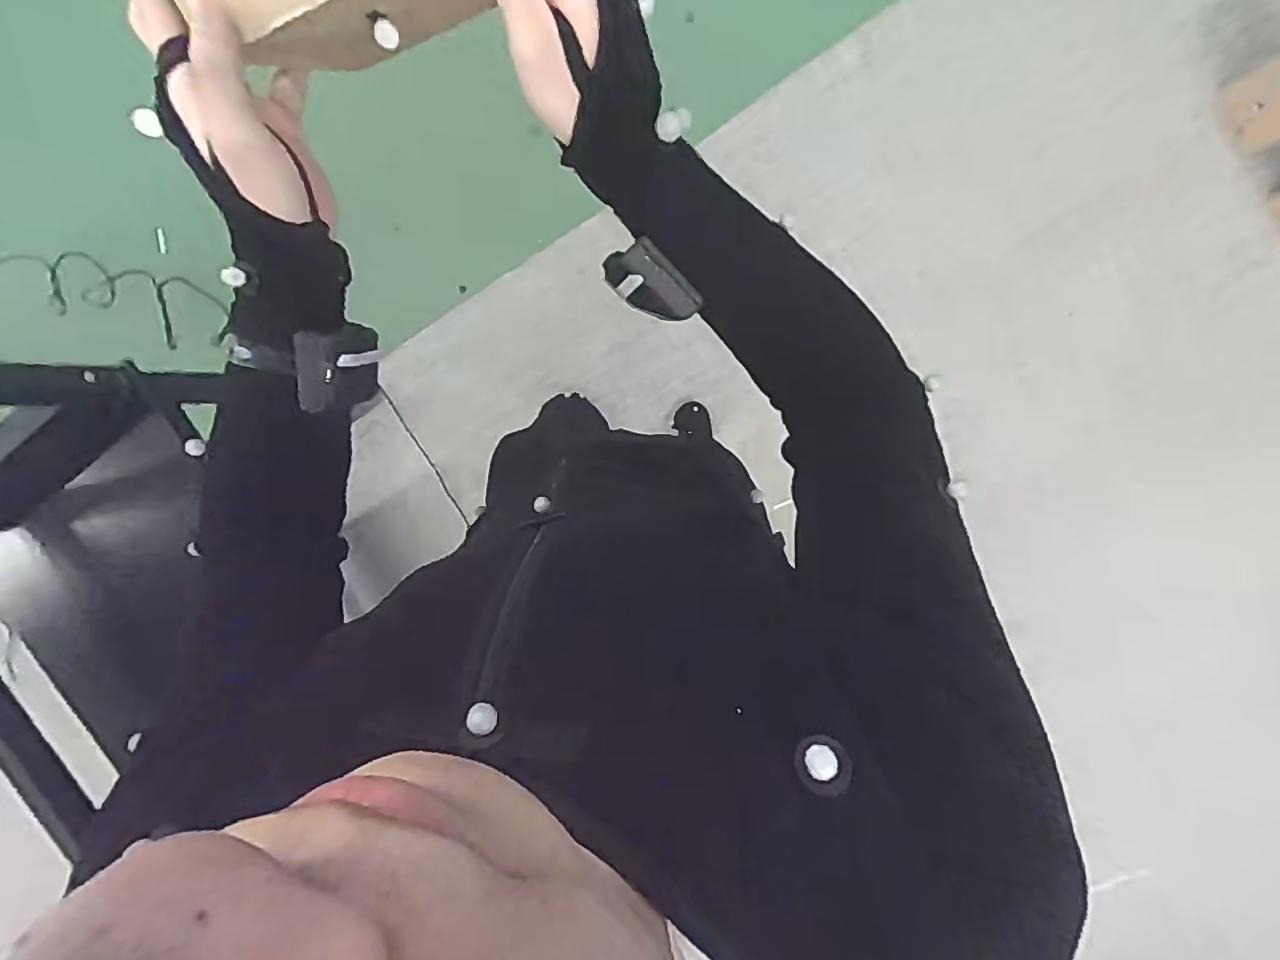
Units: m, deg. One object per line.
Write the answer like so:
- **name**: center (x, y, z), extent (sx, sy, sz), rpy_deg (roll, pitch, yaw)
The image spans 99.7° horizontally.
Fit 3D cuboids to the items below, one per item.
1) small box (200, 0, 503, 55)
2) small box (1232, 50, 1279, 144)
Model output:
- **small box**: center (-0.159, -0.361, 0.294), extent (0.179, 0.176, 0.168), rpy_deg (-13, 124, 12)
- **small box**: center (1.487, -0.893, 1.196), extent (0.179, 0.176, 0.168), rpy_deg (-28, 95, 12)
